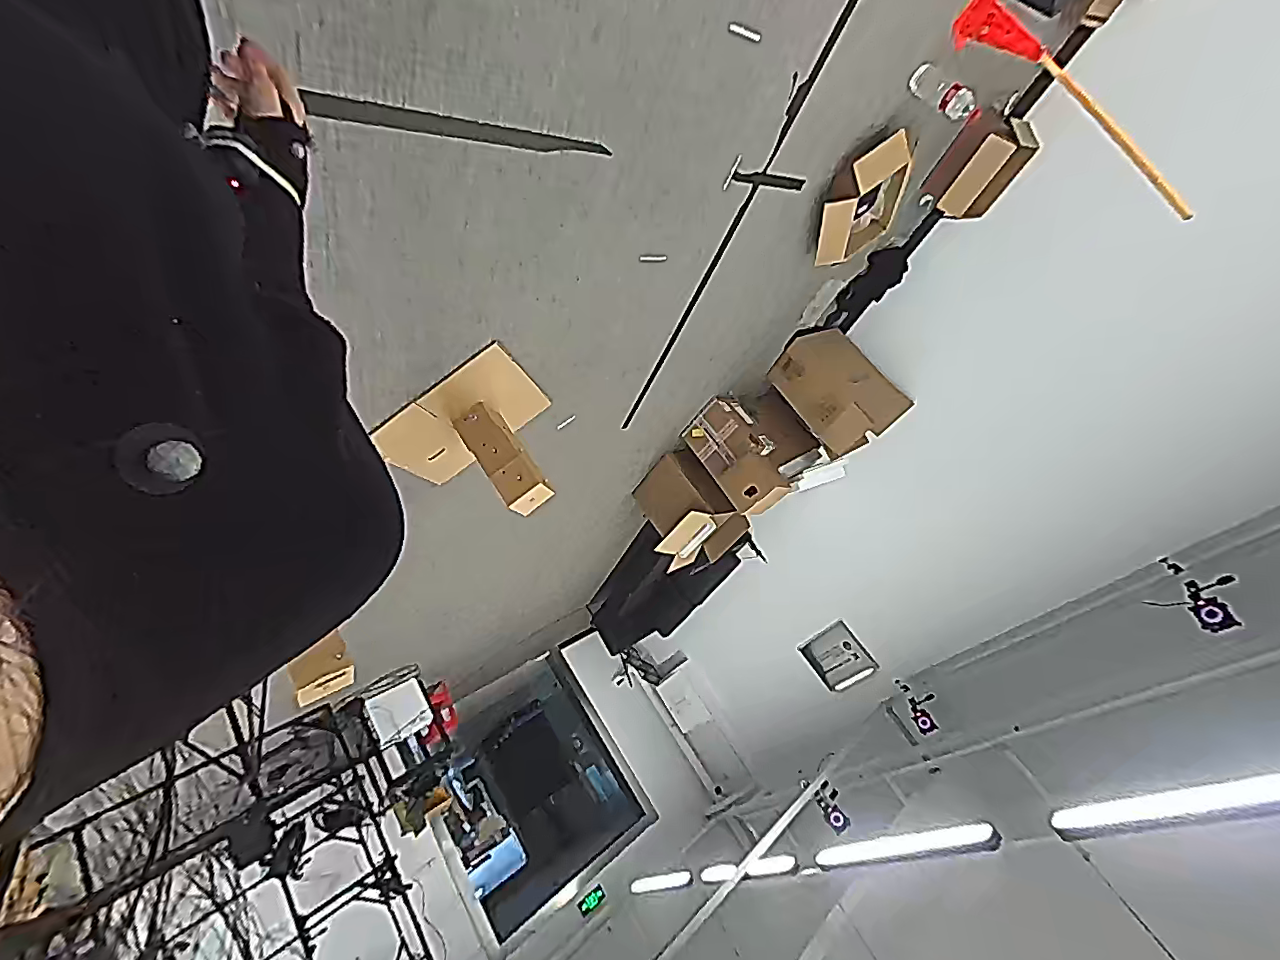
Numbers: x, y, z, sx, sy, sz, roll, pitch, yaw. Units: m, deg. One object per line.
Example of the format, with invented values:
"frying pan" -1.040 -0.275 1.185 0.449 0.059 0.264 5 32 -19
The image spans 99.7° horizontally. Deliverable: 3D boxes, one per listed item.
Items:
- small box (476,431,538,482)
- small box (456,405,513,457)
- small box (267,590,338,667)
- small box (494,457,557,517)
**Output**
"small box" -0.578 -0.089 2.346 0.168 0.176 0.179 -37 160 3
"small box" -0.679 -0.204 2.407 0.168 0.176 0.179 -38 159 4
"small box" -1.143 0.493 1.830 0.168 0.176 0.179 -18 152 -40
"small box" -0.484 0.028 2.283 0.168 0.176 0.179 -37 160 1
